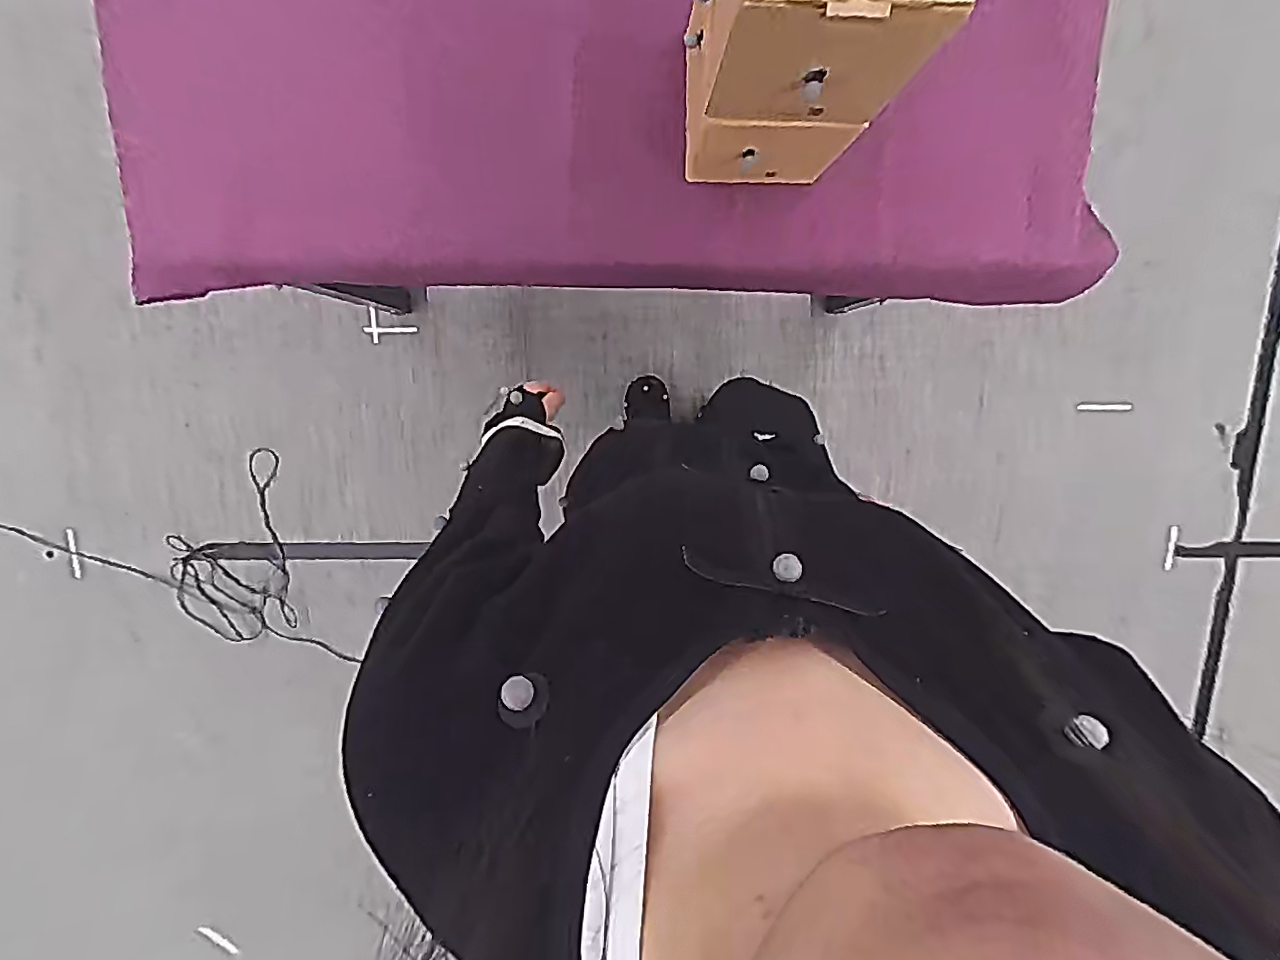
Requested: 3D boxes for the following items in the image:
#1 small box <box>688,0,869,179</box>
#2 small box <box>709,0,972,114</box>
[{"bbox_3d":[0.145,-0.451,0.596,0.168,0.176,0.179,0,100,-2],"label":"small box"},{"bbox_3d":[0.151,-0.426,0.435,0.168,0.176,0.179,1,101,-2],"label":"small box"}]
